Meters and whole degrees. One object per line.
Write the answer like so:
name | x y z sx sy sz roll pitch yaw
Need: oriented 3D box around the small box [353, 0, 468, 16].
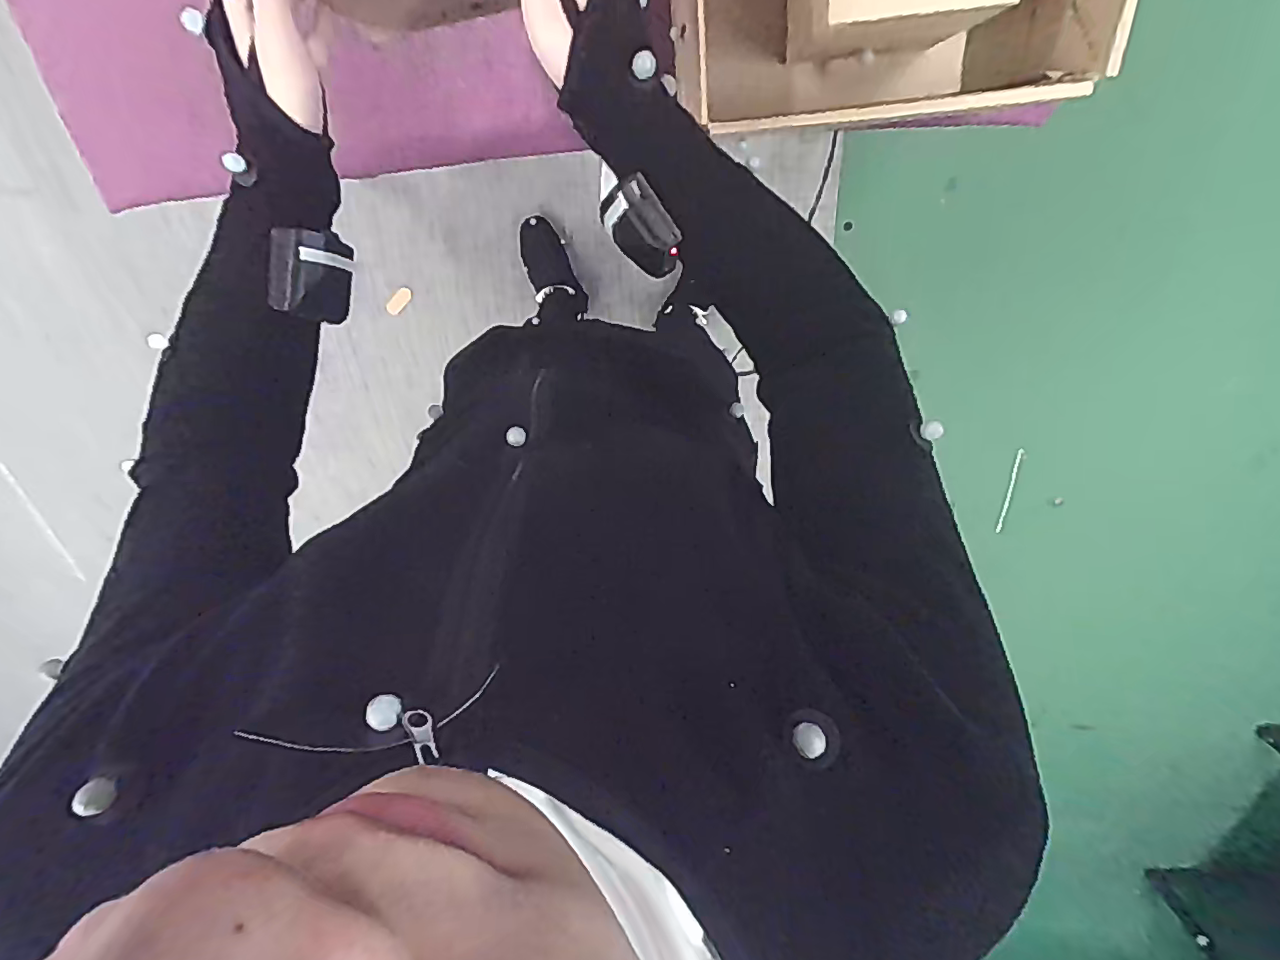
small box | -0.169 -0.458 0.371 0.168 0.176 0.179 -11 115 1
